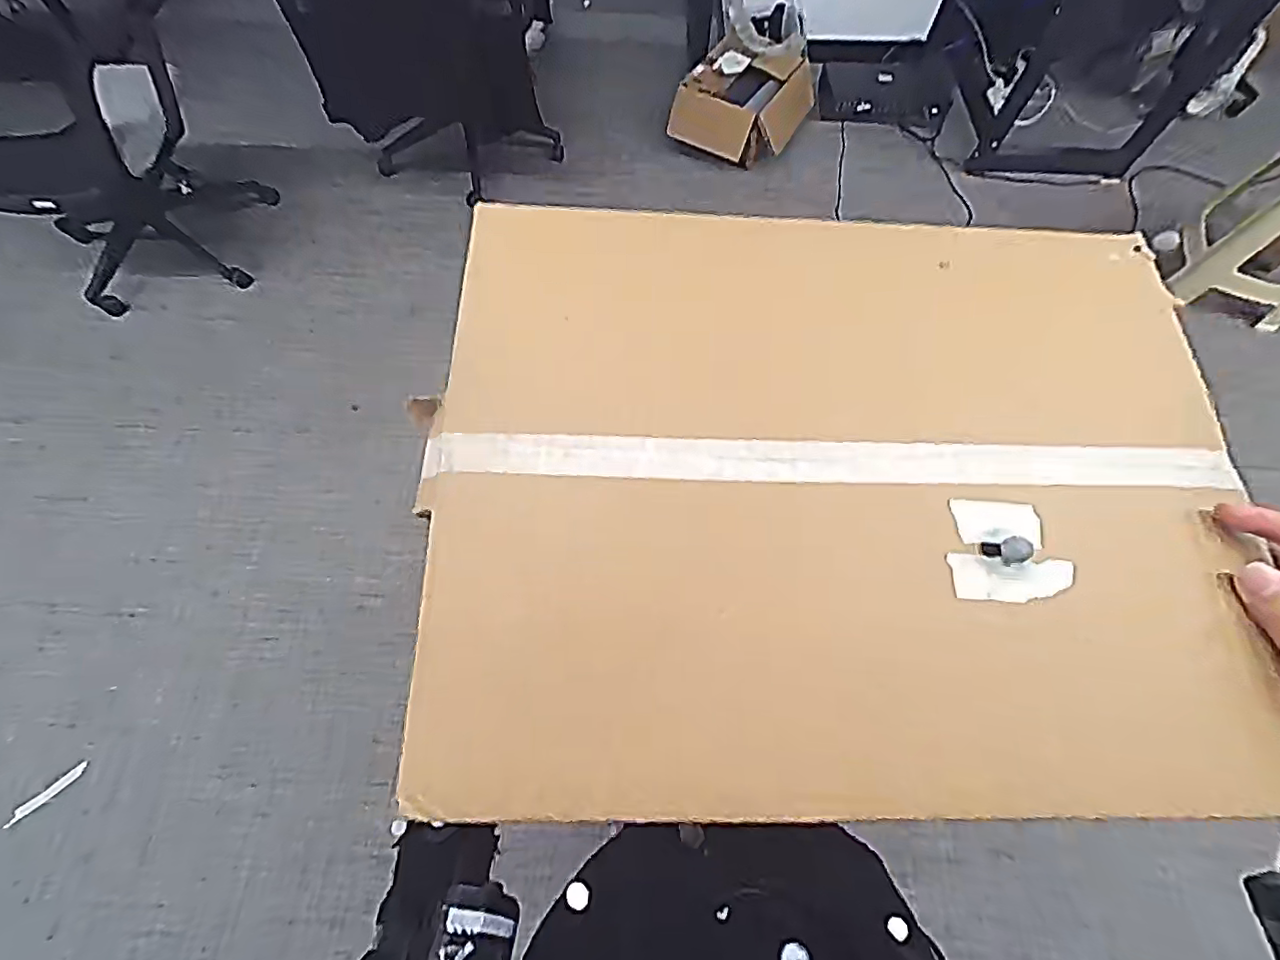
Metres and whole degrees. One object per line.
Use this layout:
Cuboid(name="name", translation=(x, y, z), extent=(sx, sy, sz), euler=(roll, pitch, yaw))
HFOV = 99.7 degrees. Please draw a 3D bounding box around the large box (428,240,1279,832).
Cuboid(name="large box", translation=(0.094, 0.051, 0.425), extent=(0.408, 0.320, 0.320), euler=(1, 71, -4))
